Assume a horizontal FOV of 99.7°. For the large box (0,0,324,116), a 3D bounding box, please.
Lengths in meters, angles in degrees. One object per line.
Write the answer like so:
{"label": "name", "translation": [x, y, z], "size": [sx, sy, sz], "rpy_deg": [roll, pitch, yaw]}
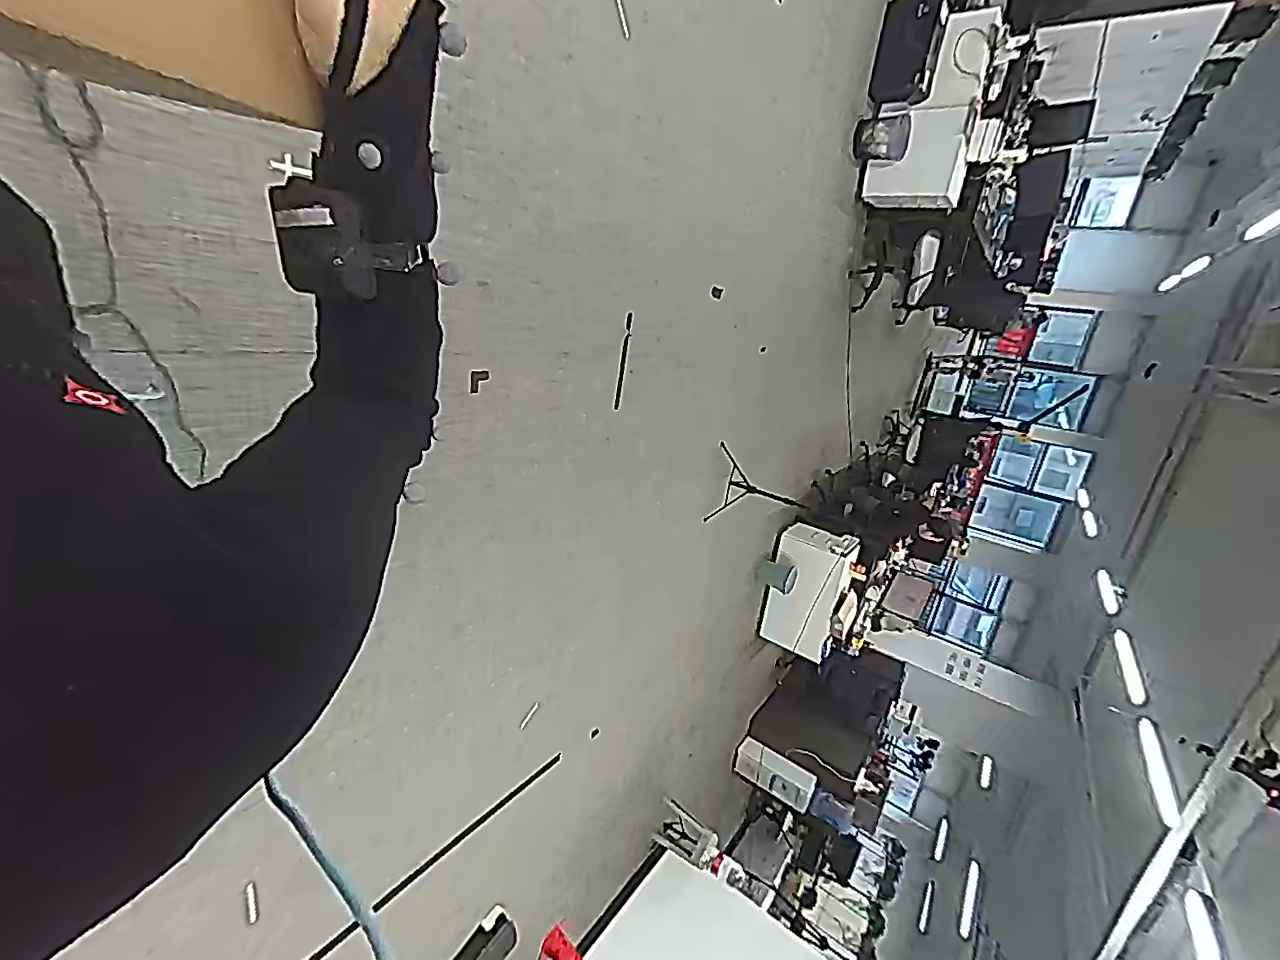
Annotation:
{"label": "large box", "translation": [-0.376, -0.370, 0.164], "size": [0.408, 0.320, 0.320], "rpy_deg": [-18, 129, -56]}
